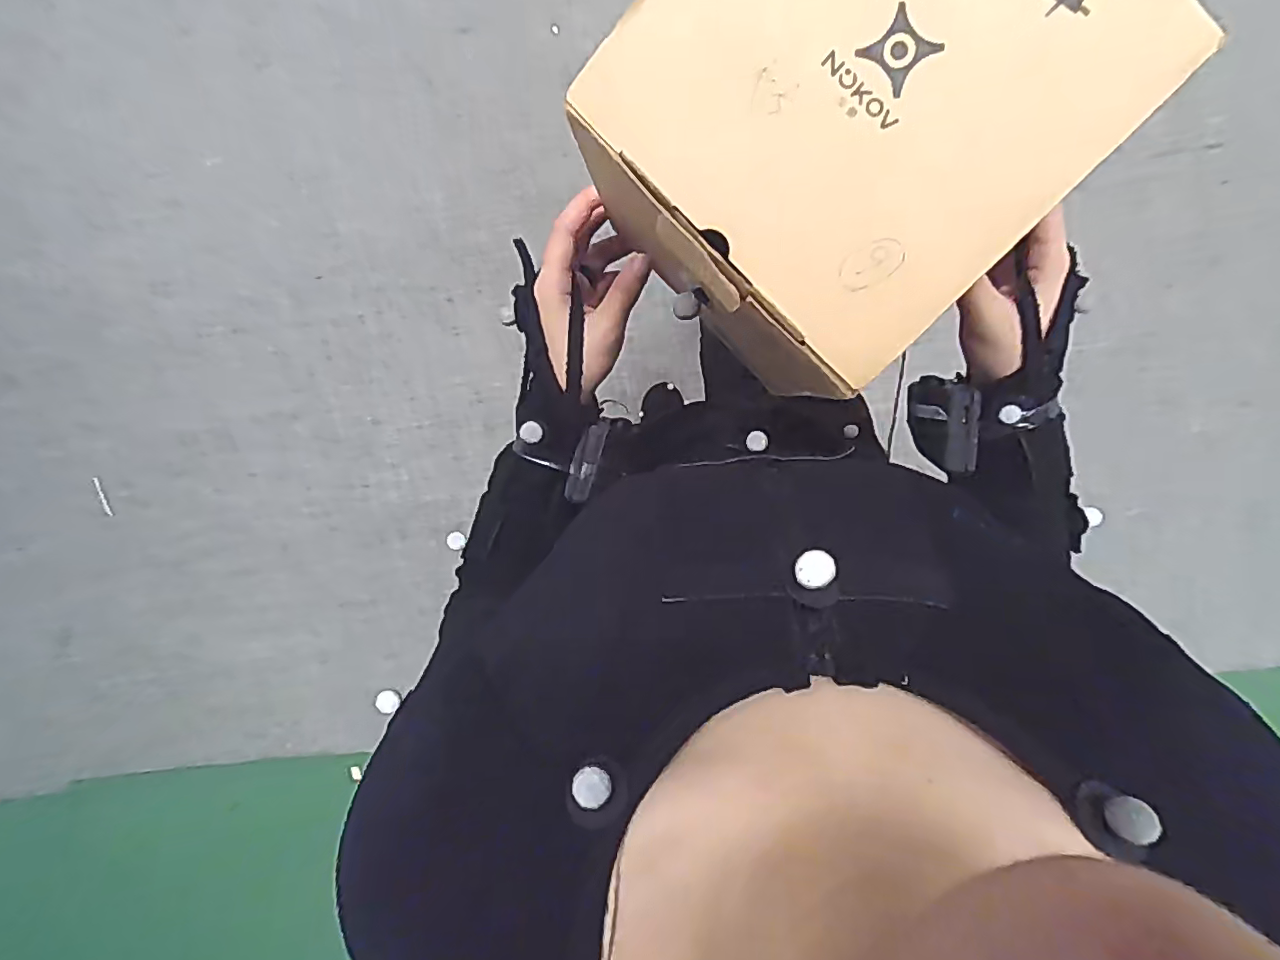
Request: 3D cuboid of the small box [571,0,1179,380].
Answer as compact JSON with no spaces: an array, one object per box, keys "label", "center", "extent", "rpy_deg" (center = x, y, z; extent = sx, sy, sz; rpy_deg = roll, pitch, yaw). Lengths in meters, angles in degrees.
[{"label":"small box","center":[0.094,-0.169,0.291],"extent":[0.168,0.176,0.179],"rpy_deg":[44,100,-3]}]
